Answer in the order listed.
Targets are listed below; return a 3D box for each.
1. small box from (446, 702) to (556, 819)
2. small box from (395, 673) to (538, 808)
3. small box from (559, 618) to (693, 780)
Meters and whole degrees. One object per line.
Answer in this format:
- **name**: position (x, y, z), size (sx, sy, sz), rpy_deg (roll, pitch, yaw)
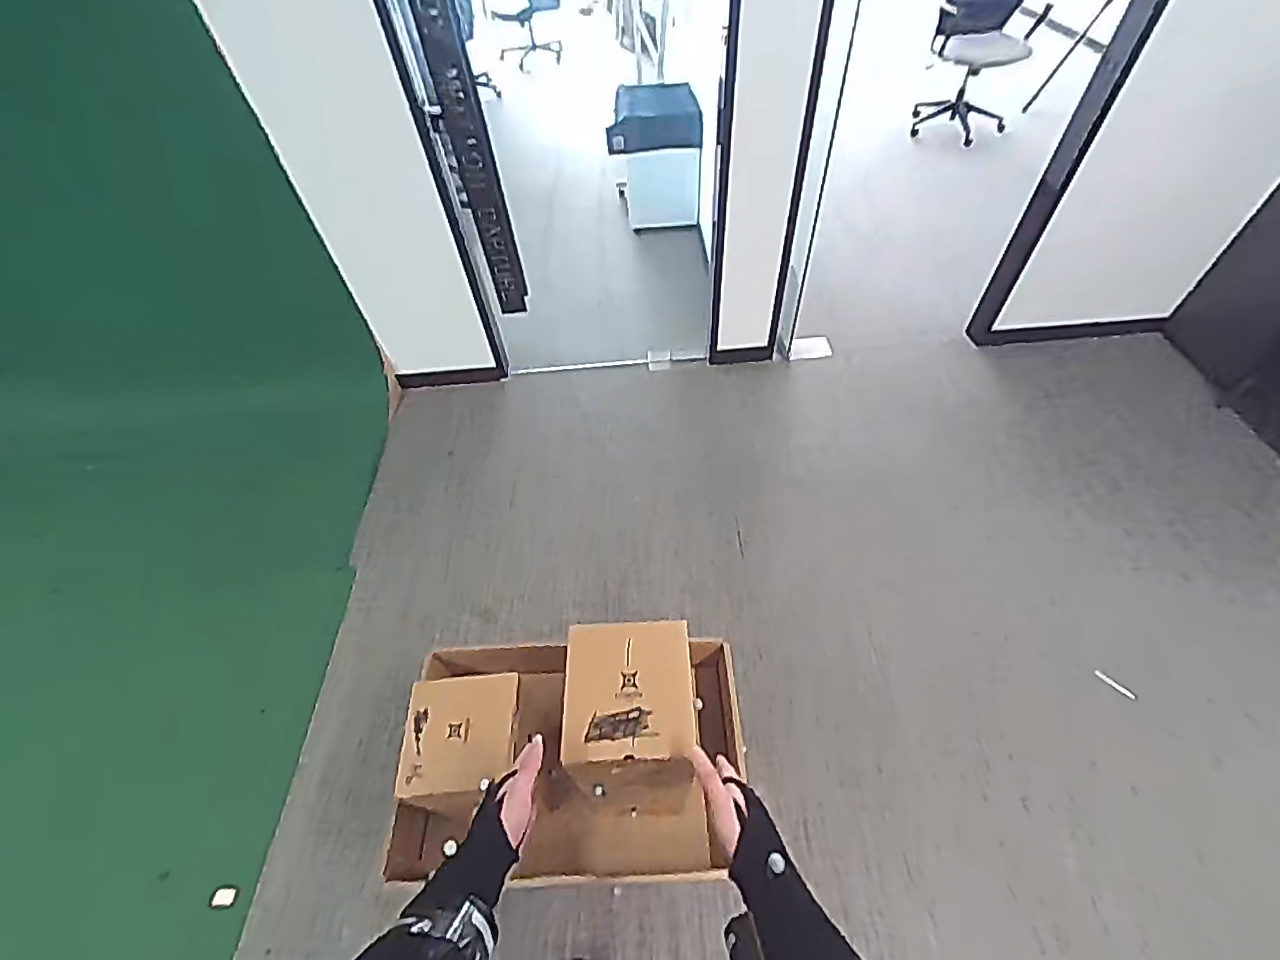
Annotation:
- **small box**: position (-0.262, 0.529, 1.016), size (0.179, 0.176, 0.168), rpy_deg (-2, 52, 0)
- **small box**: position (-0.268, 0.429, 0.887), size (0.179, 0.176, 0.168), rpy_deg (-4, 52, -1)
- **small box**: position (-0.013, 0.311, 0.755), size (0.168, 0.176, 0.179), rpy_deg (-2, 51, 1)
